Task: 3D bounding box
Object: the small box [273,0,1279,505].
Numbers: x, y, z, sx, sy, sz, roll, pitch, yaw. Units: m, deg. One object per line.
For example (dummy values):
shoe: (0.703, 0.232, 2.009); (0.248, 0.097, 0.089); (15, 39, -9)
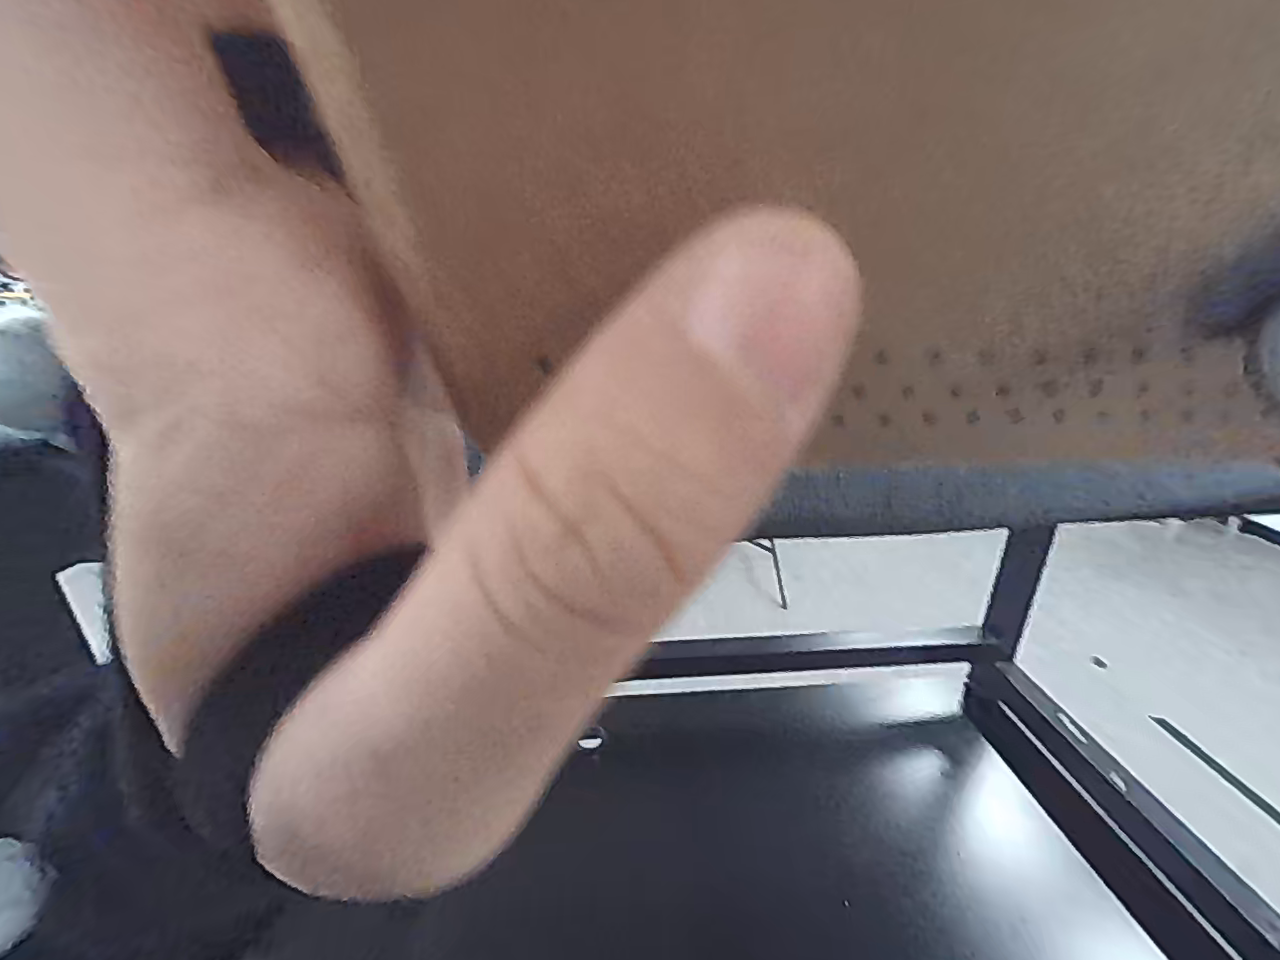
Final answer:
small box: (0.063, -0.105, 0.055); (0.179, 0.176, 0.168); (-1, 62, -4)
